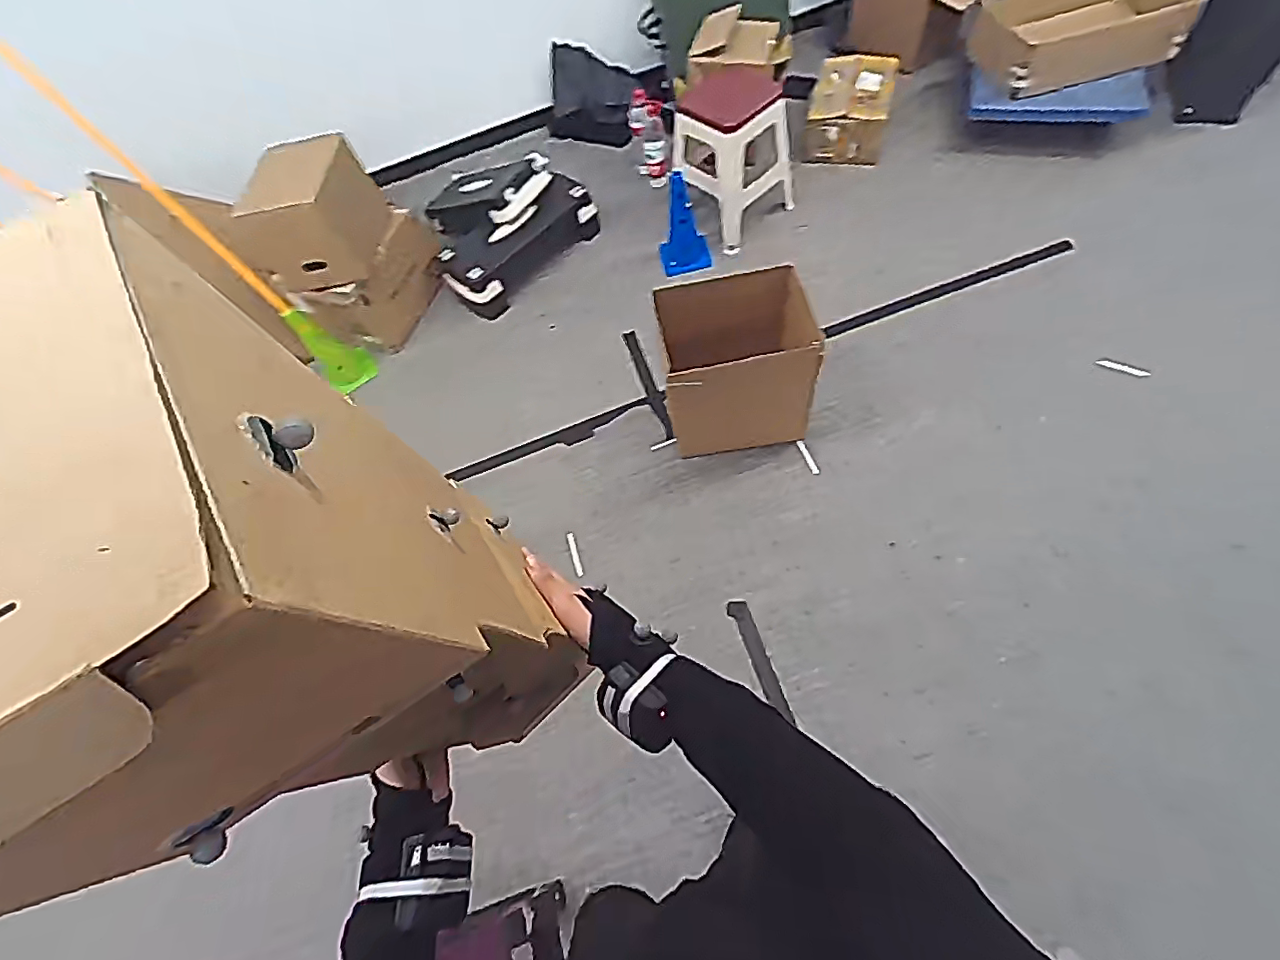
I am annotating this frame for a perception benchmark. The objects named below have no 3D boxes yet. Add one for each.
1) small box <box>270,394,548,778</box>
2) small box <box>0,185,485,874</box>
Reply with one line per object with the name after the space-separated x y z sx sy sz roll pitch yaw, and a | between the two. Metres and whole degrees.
-0.188 0.079 0.386 0.168 0.176 0.179 -33 68 -8 | small box
-0.193 0.031 0.228 0.168 0.176 0.179 -33 68 -8 | small box
